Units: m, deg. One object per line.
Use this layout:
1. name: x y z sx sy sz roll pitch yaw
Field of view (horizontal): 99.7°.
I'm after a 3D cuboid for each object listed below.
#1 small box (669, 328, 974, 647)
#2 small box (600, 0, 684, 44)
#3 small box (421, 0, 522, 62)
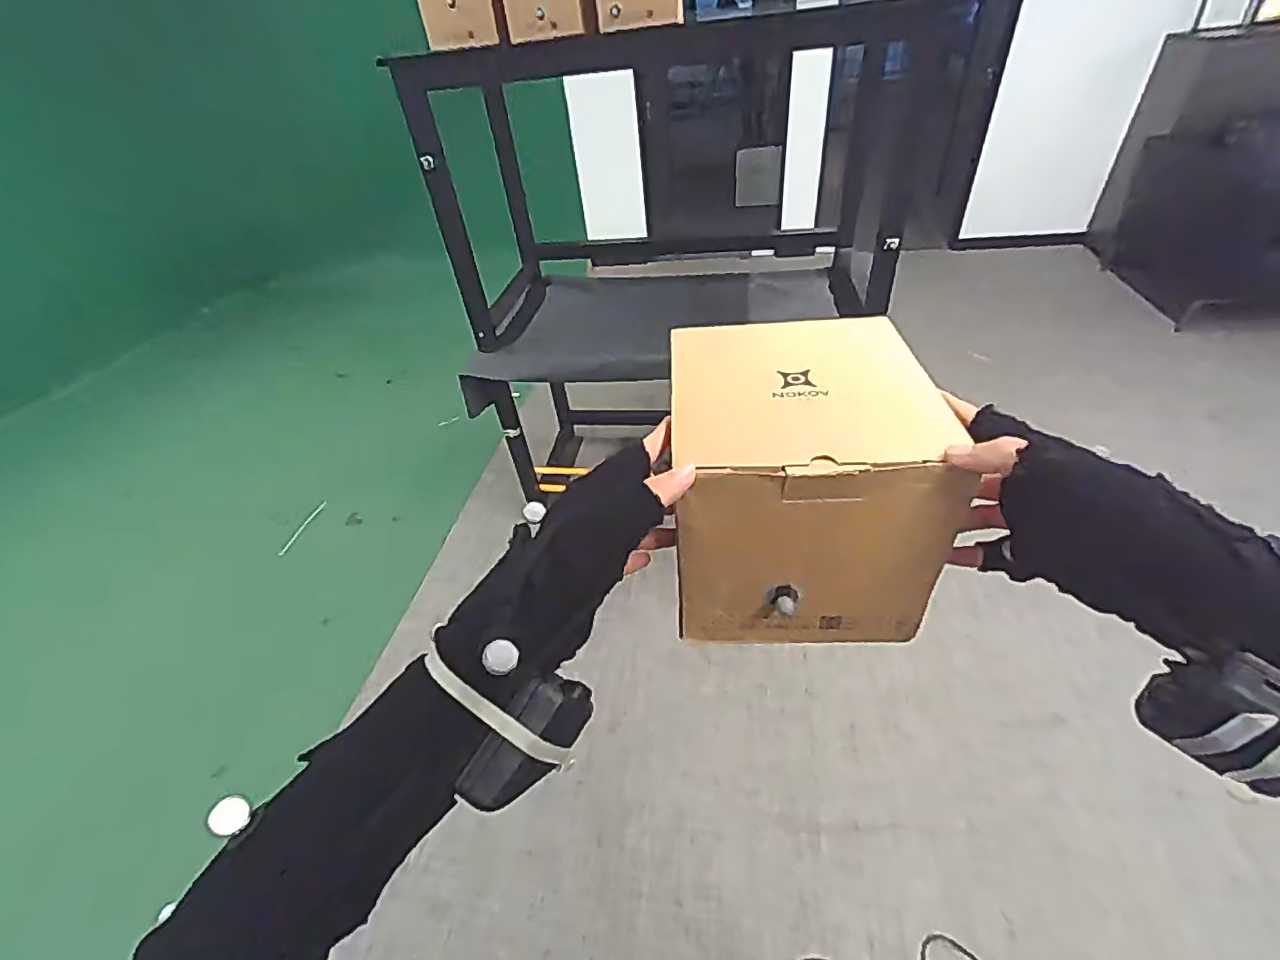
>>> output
1. small box: 0.107 0.003 0.408 0.168 0.176 0.179 -2 40 5
2. small box: 0.006 -1.050 1.156 0.168 0.176 0.179 0 40 8
3. small box: -0.383 -1.072 1.239 0.168 0.176 0.179 2 41 9
